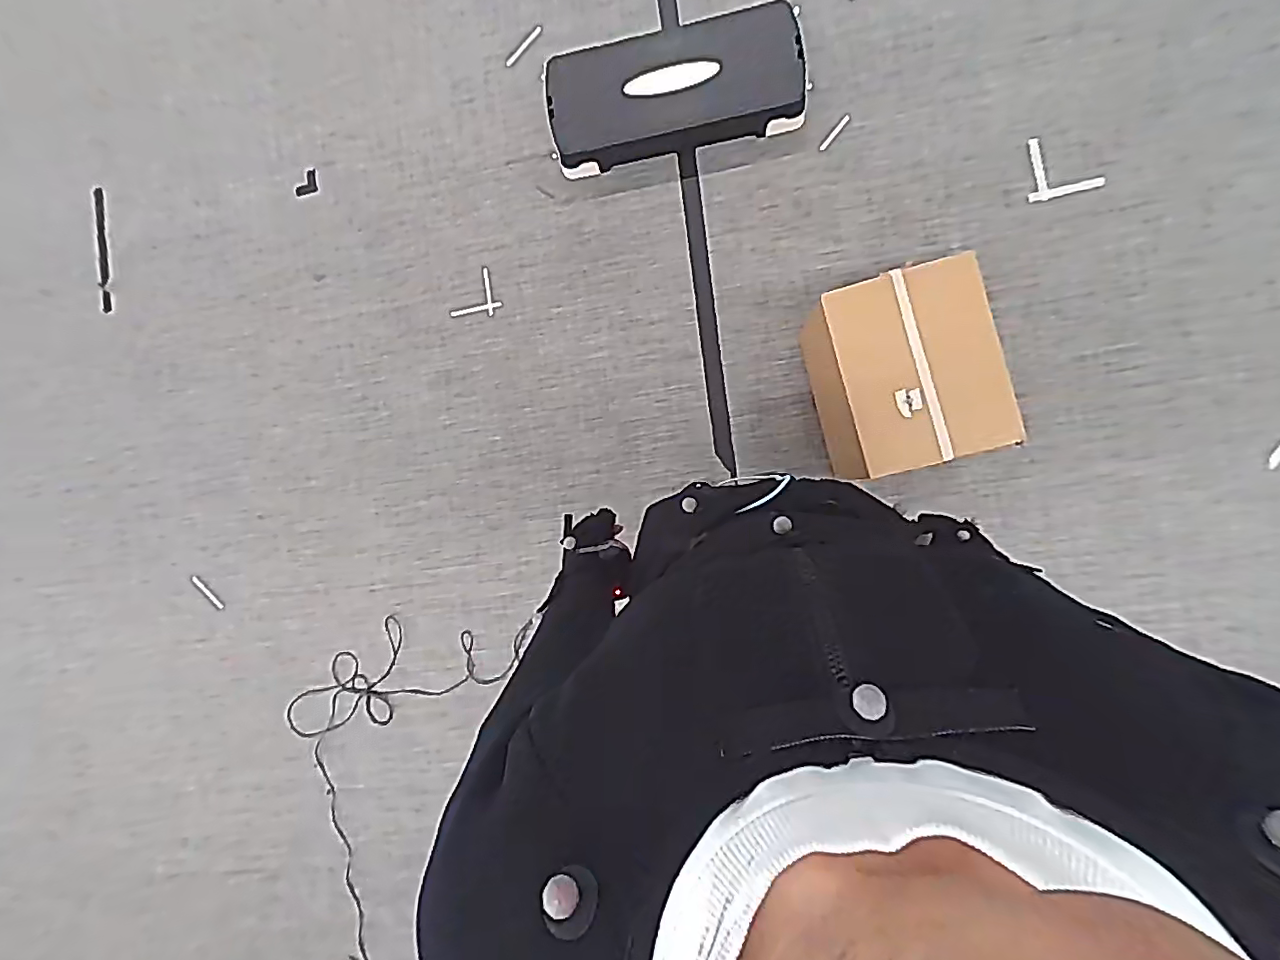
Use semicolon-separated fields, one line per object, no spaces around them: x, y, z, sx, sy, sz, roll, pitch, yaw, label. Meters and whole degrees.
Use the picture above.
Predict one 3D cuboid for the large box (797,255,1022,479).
0.590;-0.234;1.259;0.320;0.320;0.408;-15;88;8;large box
